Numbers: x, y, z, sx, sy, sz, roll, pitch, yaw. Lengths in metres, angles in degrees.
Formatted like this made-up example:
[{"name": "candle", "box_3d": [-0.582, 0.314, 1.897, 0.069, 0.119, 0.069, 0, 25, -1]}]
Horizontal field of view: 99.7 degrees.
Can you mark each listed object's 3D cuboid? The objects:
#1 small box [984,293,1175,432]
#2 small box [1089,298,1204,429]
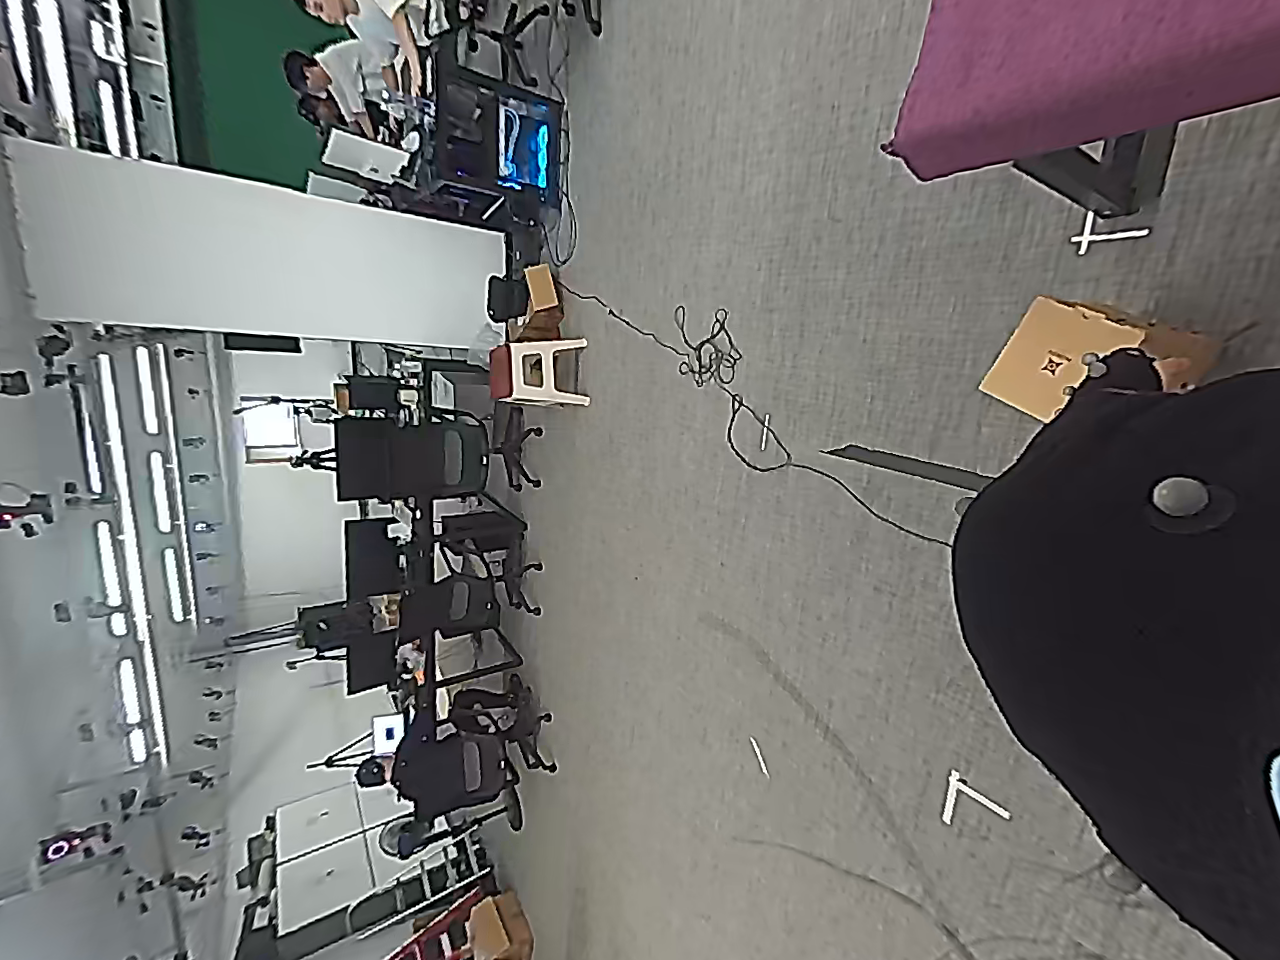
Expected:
[{"name": "small box", "box_3d": [0.743, -0.197, 0.918, 0.168, 0.176, 0.179, 48, 132, 41]}, {"name": "small box", "box_3d": [0.881, -0.214, 1.004, 0.168, 0.176, 0.179, 55, 137, 36]}]
